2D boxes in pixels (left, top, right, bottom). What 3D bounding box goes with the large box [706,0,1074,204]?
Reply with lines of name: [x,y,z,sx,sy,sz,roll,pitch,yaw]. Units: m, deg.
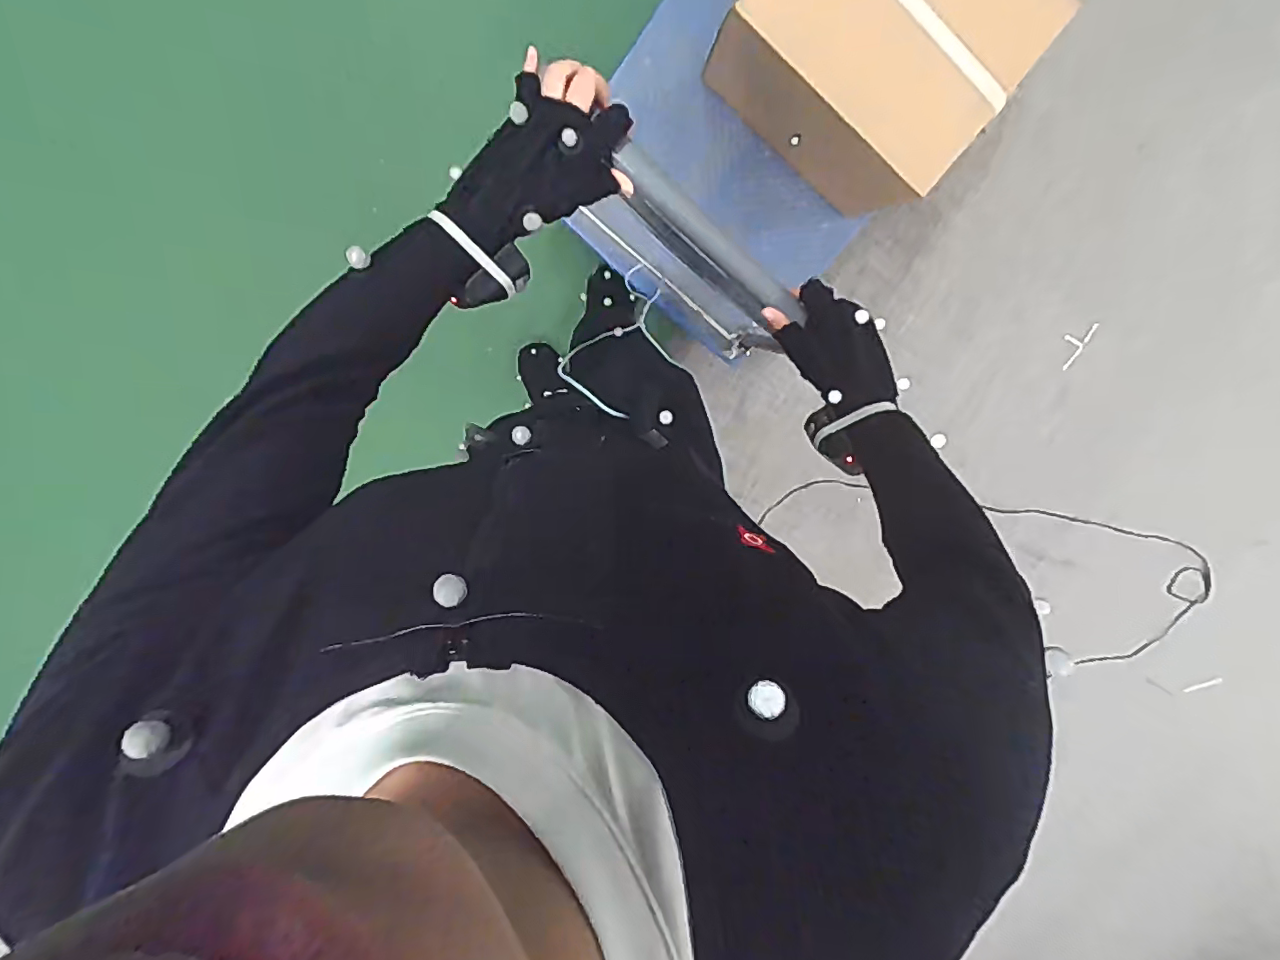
large box: [0.371,-0.735,0.900,0.408,0.320,0.320,35,106,-13]
